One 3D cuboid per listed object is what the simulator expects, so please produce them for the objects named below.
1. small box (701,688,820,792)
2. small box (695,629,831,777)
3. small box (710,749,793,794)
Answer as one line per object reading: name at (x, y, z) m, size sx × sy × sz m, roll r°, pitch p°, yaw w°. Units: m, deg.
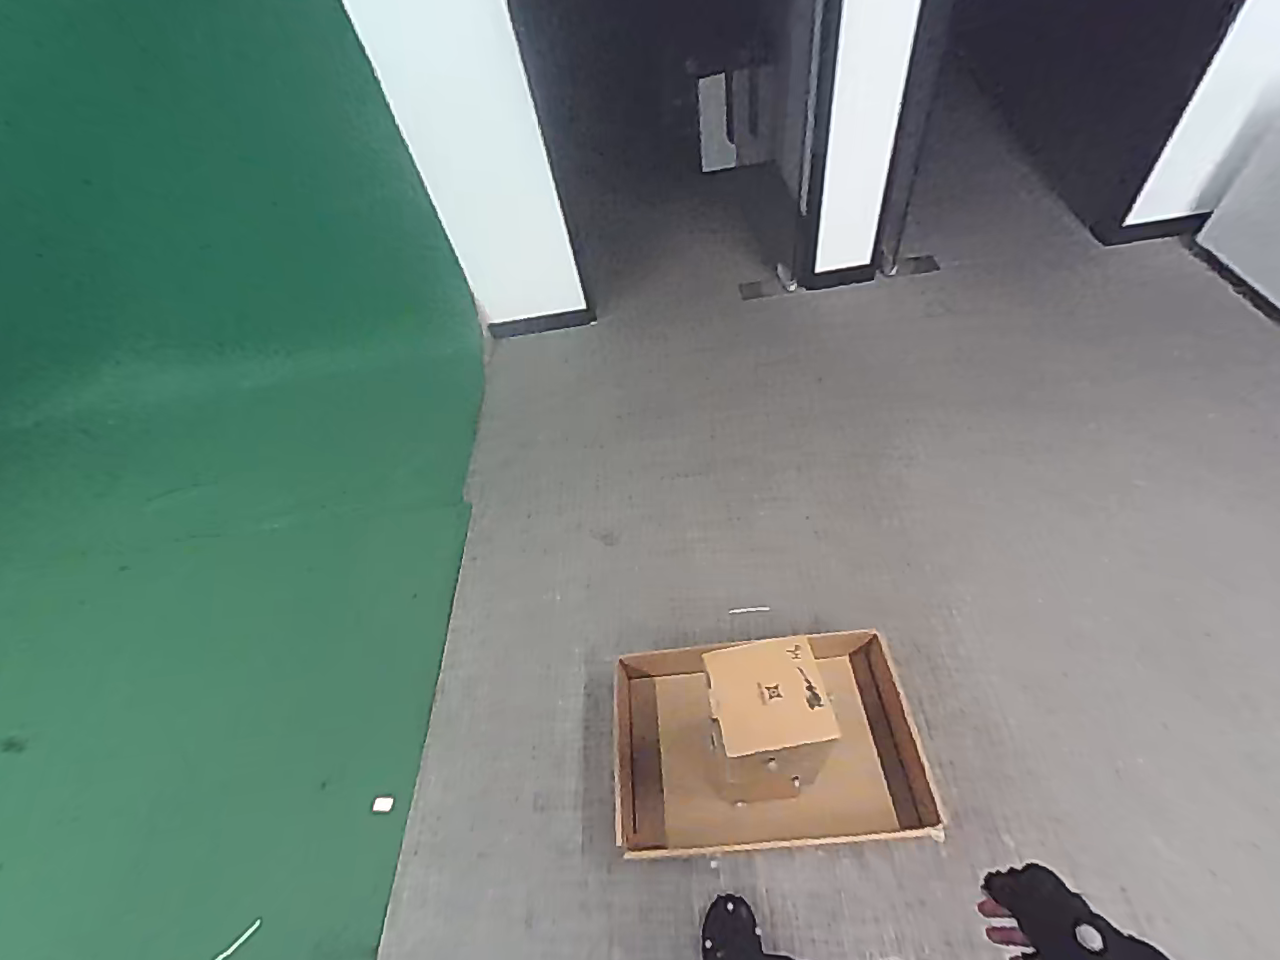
small box at (0.218, 0.474, 1.027) m, size 0.179 × 0.176 × 0.168 m, roll -12°, pitch 50°, yaw -1°
small box at (0.201, 0.382, 0.917) m, size 0.179 × 0.176 × 0.168 m, roll -12°, pitch 48°, yaw -2°
small box at (0.236, 0.573, 1.176) m, size 0.168 × 0.176 × 0.179 m, roll -8°, pitch 50°, yaw 4°
